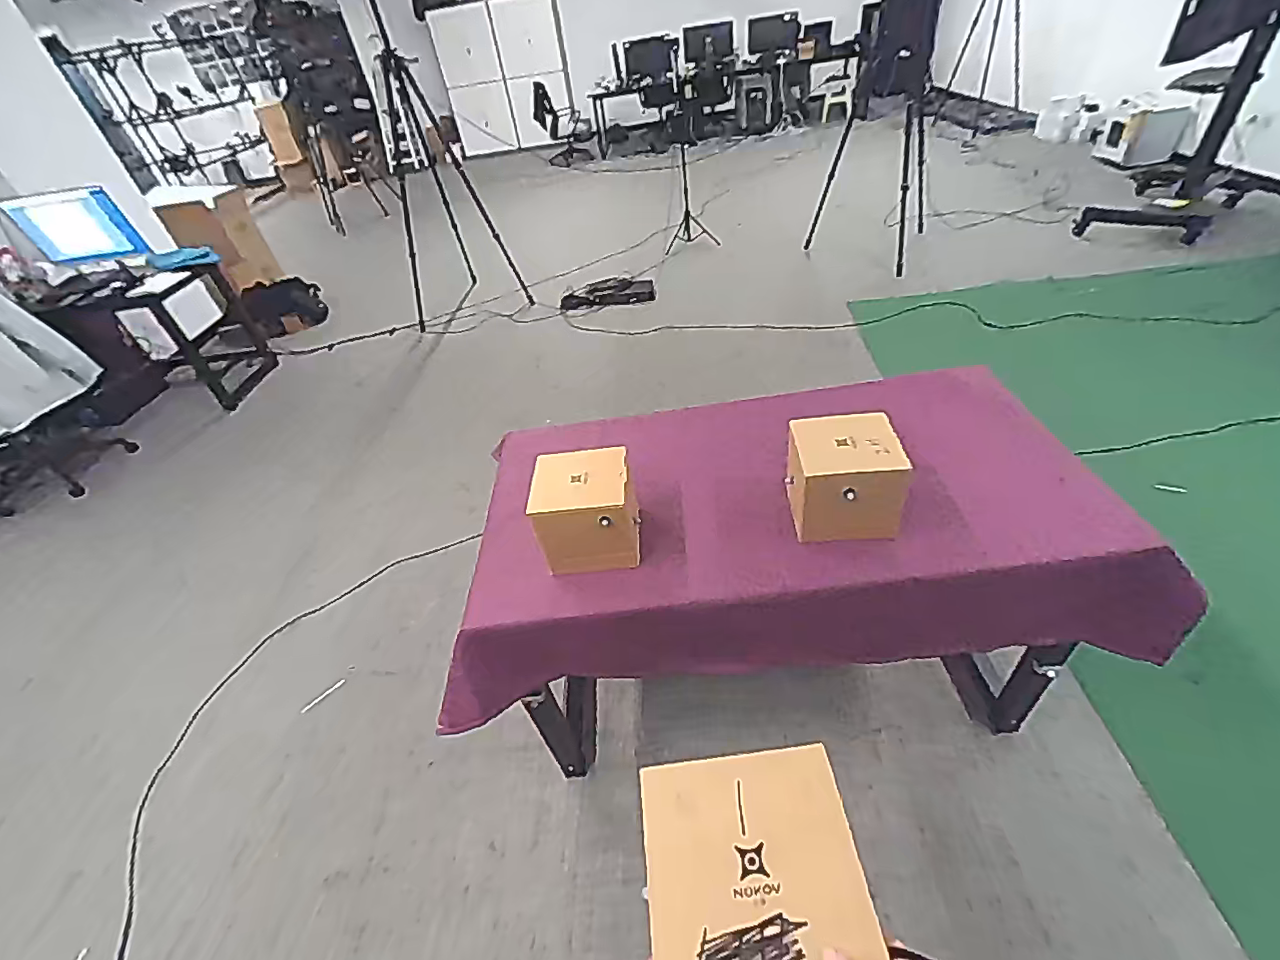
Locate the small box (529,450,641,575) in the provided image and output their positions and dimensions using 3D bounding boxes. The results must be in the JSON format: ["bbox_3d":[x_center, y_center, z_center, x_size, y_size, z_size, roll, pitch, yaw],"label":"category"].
[{"bbox_3d":[-0.096,0.066,1.037,0.179,0.176,0.168,-7,40,5],"label":"small box"}]

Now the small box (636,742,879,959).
[{"bbox_3d":[0.096,0.360,0.474,0.168,0.176,0.179,-10,43,3],"label":"small box"}]

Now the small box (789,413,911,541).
[{"bbox_3d":[0.376,-0.002,1.001,0.179,0.176,0.168,-4,41,8],"label":"small box"}]
